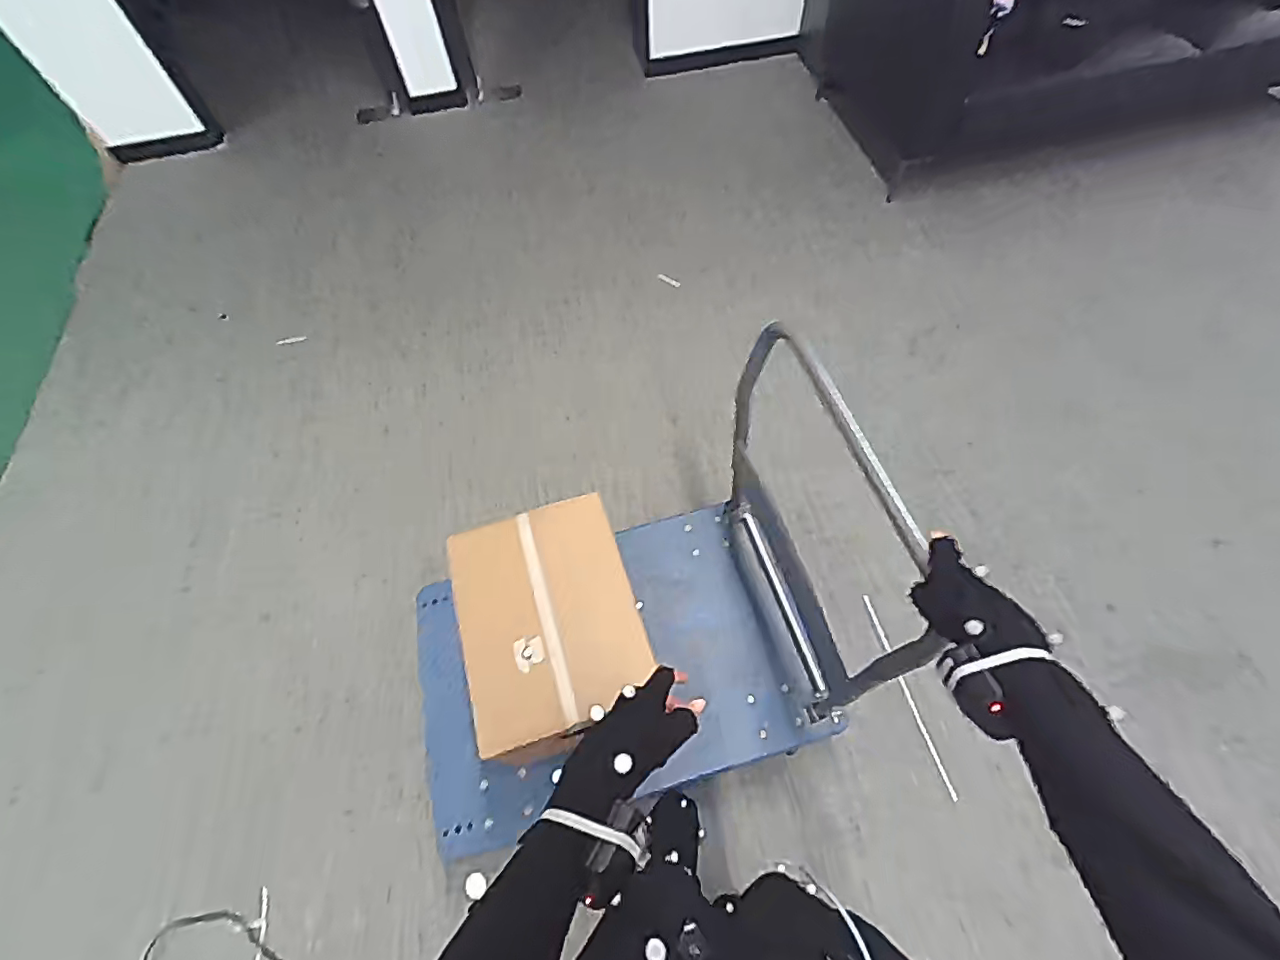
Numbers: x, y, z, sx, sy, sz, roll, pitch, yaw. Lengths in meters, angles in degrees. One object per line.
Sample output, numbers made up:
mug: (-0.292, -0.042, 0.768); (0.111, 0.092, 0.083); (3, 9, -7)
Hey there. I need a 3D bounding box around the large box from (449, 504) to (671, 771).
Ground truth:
large box: (-0.155, 0.324, 1.102); (0.320, 0.320, 0.408); (-18, 61, -7)
